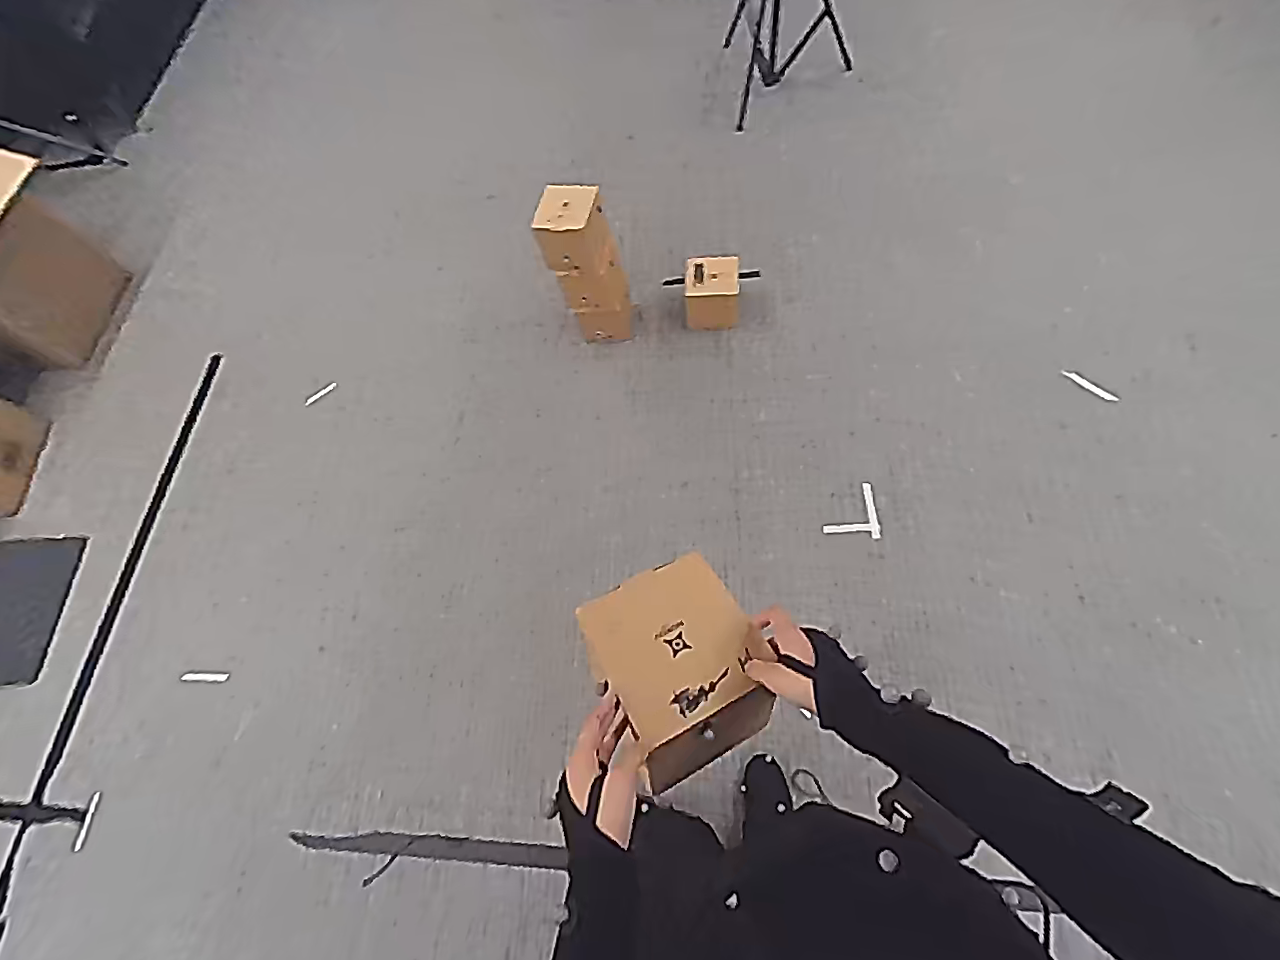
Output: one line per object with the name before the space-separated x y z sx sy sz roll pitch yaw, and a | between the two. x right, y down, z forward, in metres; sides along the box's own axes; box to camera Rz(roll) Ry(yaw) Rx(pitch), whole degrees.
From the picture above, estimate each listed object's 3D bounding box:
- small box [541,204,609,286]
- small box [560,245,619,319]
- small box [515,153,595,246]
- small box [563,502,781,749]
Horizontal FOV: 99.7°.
small box | -0.201 -0.749 1.730 0.168 0.176 0.179 3 68 10
small box | -0.169 -0.683 1.873 0.168 0.176 0.179 0 67 9
small box | -0.240 -0.822 1.586 0.168 0.176 0.179 8 69 13
small box | 0.028 0.162 0.603 0.168 0.176 0.179 -22 51 -16
